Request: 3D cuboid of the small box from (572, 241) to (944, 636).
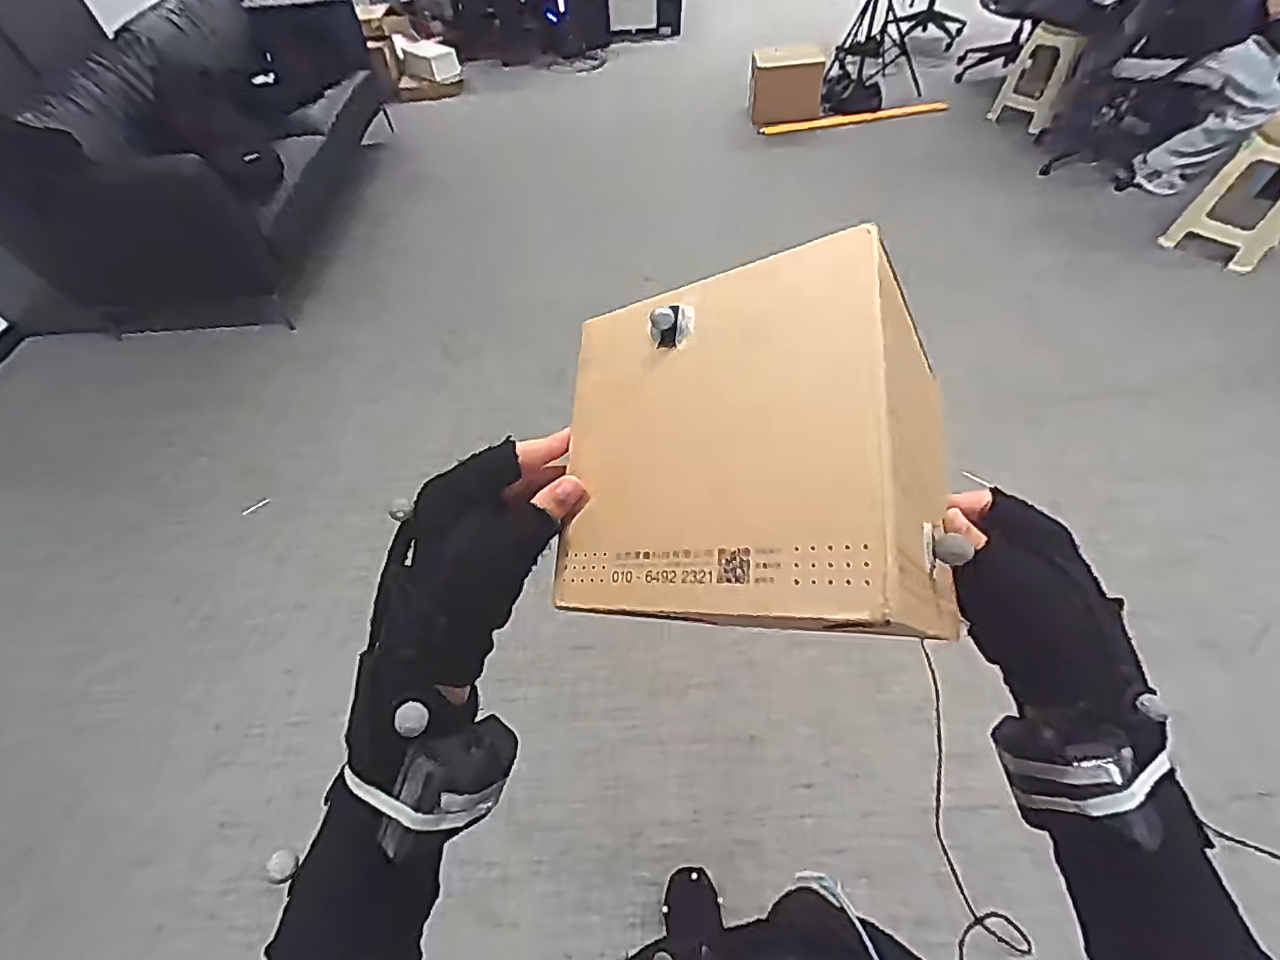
[{"bbox_3d":[0.076,0.003,0.328,0.168,0.179,0.176,-9,69,36],"label":"small box"}]
